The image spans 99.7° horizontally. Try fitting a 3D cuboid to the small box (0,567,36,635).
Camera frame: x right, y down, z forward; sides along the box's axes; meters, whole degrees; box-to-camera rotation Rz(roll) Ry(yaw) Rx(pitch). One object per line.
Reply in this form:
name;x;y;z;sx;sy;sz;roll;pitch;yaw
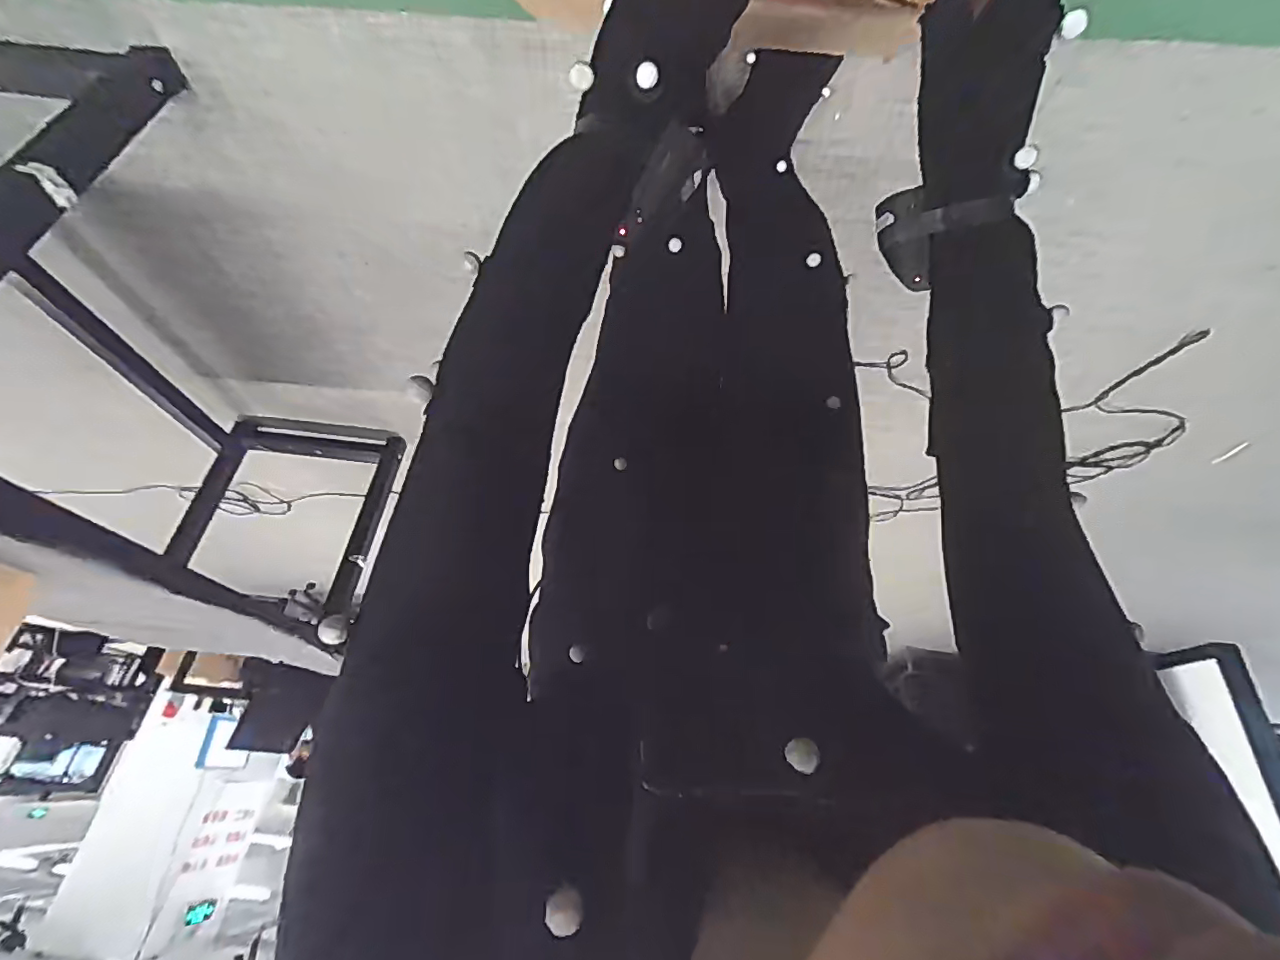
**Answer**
small box;-1.070;0.189;0.781;0.179;0.176;0.168;8;152;-2
